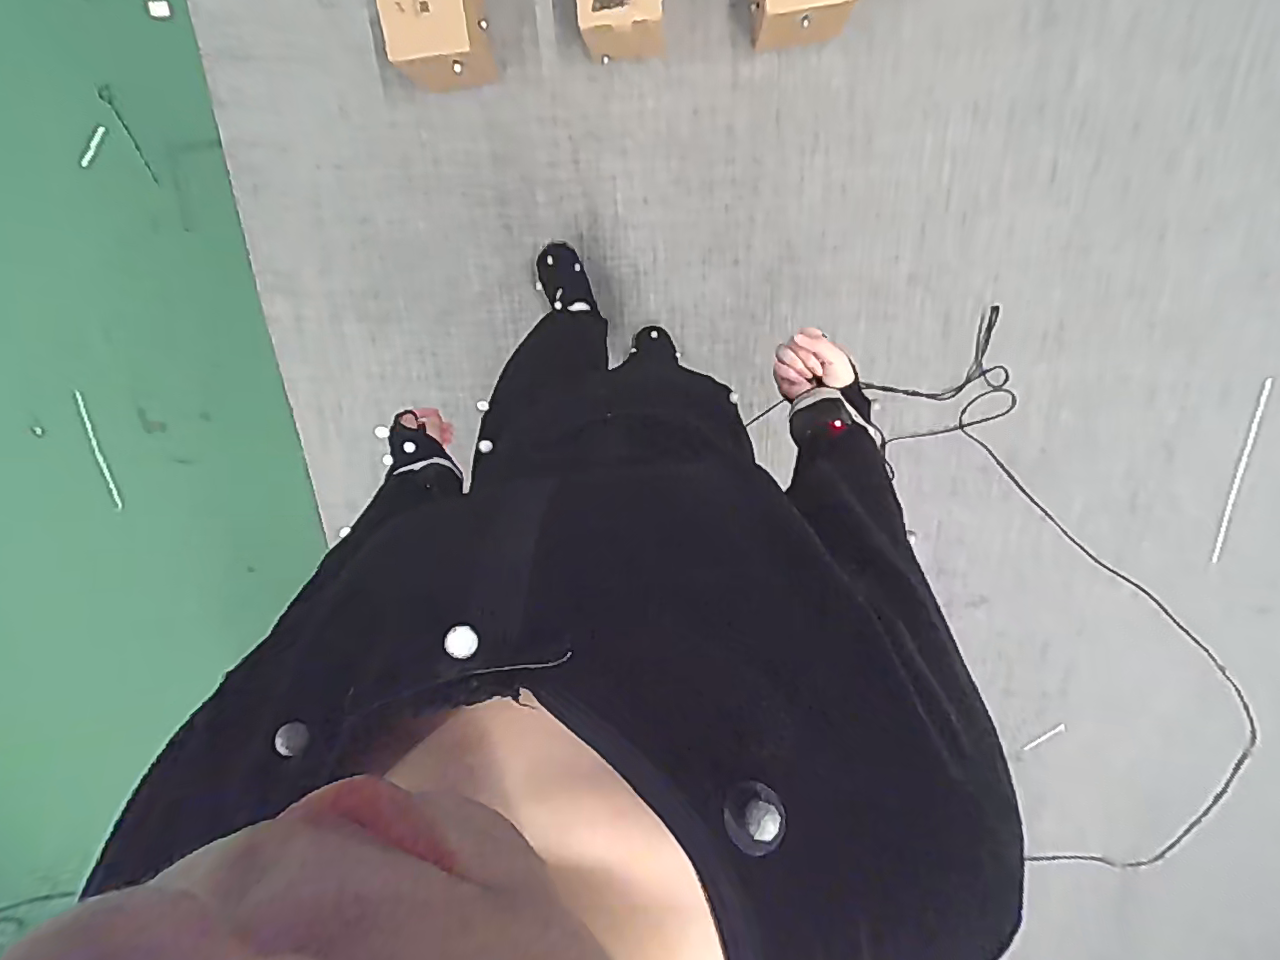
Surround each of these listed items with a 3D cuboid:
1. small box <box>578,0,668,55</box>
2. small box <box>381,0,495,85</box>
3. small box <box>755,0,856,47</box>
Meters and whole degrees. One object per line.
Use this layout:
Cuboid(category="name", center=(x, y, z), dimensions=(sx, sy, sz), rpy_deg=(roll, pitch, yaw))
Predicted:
Cuboid(category="small box", center=(-0.032, -0.991, 1.091), dimensions=(0.168, 0.176, 0.179), rpy_deg=(-1, 109, 6))
Cuboid(category="small box", center=(-0.417, -0.961, 1.137), dimensions=(0.179, 0.176, 0.168), rpy_deg=(-2, 109, 6))
Cuboid(category="small box", center=(0.320, -0.986, 1.060), dimensions=(0.179, 0.176, 0.168), rpy_deg=(-4, 110, 6))
